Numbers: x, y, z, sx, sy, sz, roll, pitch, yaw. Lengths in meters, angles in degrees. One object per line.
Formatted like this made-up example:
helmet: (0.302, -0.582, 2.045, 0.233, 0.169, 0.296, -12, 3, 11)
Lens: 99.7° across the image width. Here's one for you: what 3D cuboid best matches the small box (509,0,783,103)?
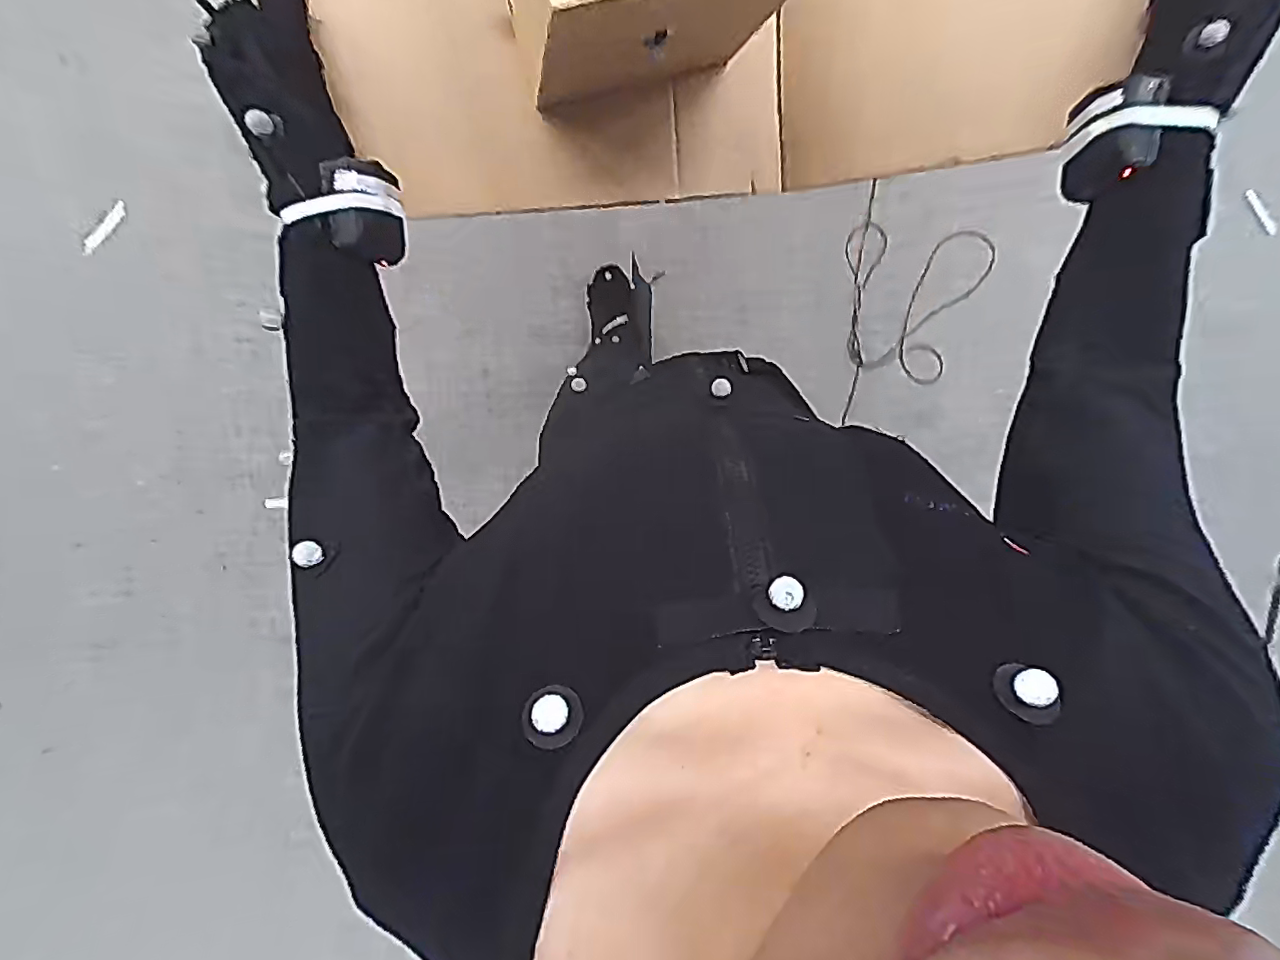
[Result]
small box: (-0.005, -0.386, 0.360, 0.179, 0.176, 0.168, -18, 111, -7)
